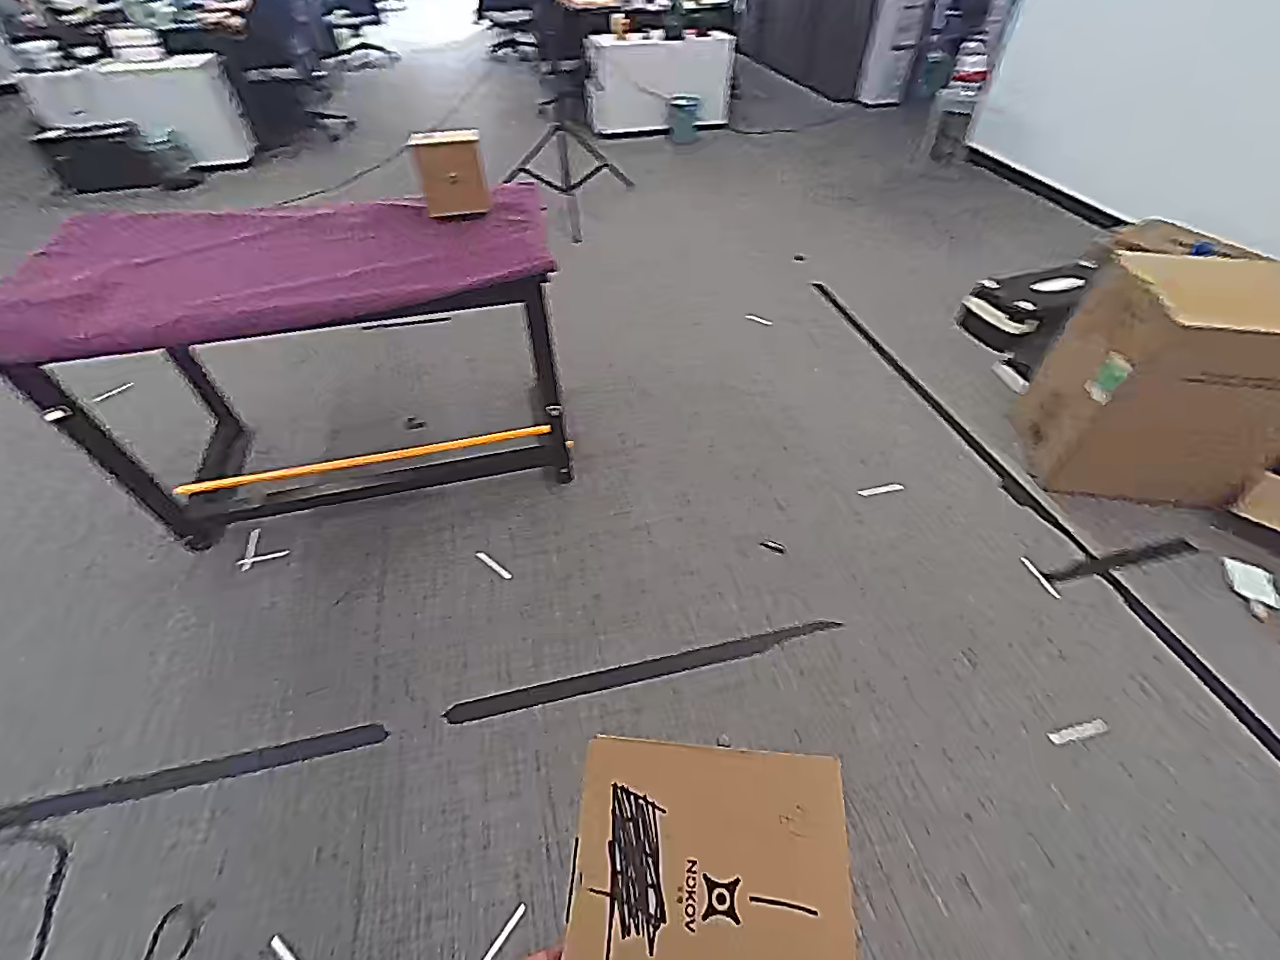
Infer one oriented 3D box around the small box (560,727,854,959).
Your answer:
[{"bbox_3d":[0.052,0.290,0.408,0.179,0.176,0.168,0,61,8],"label":"small box"}]
